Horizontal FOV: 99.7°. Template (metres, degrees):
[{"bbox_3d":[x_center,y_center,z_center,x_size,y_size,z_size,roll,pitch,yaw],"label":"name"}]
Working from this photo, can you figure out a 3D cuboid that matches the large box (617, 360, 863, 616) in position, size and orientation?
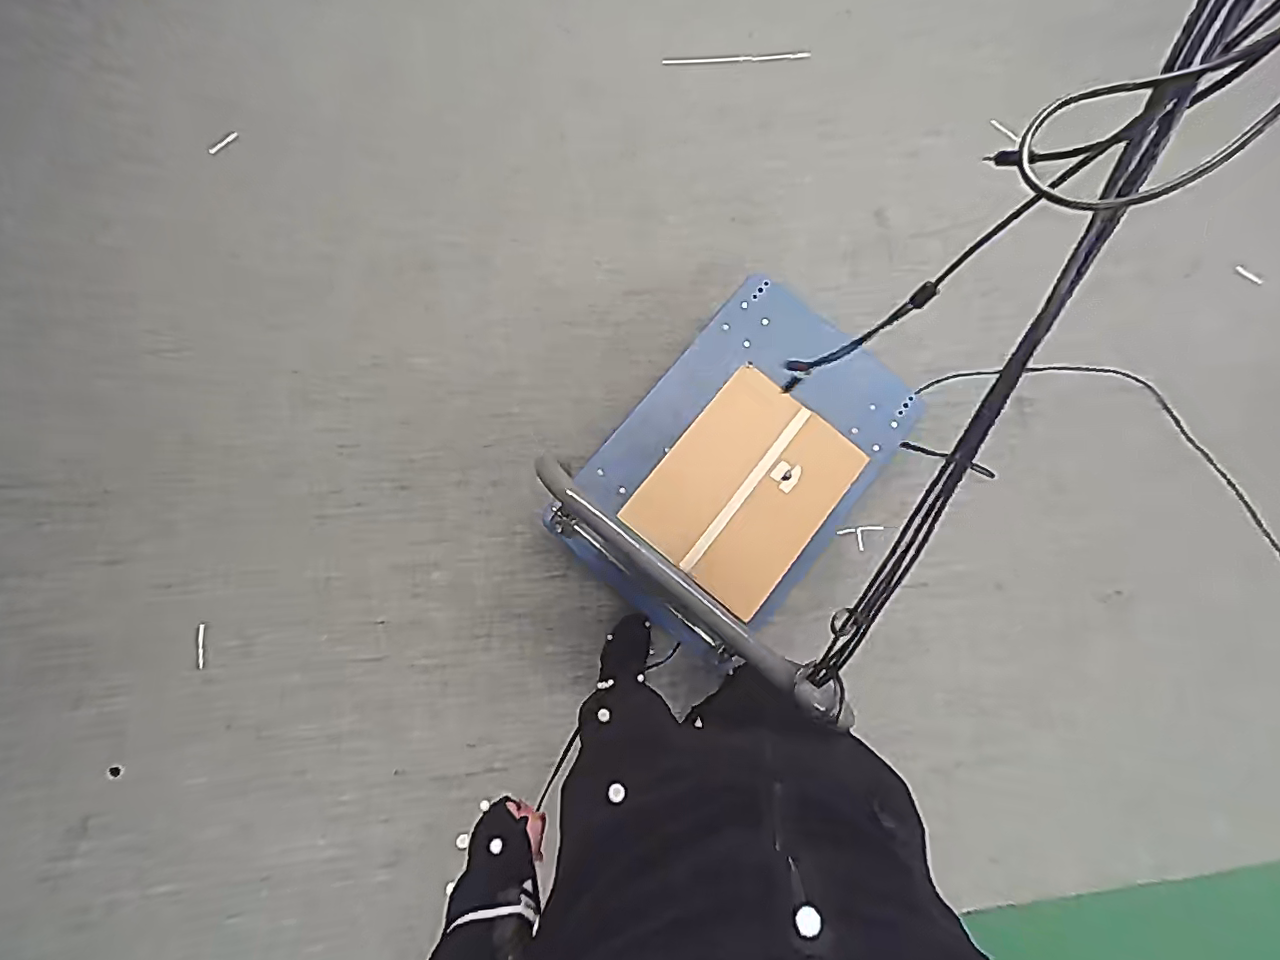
[{"bbox_3d":[0.187,0.034,1.167,0.320,0.320,0.408,39,80,3],"label":"large box"}]
